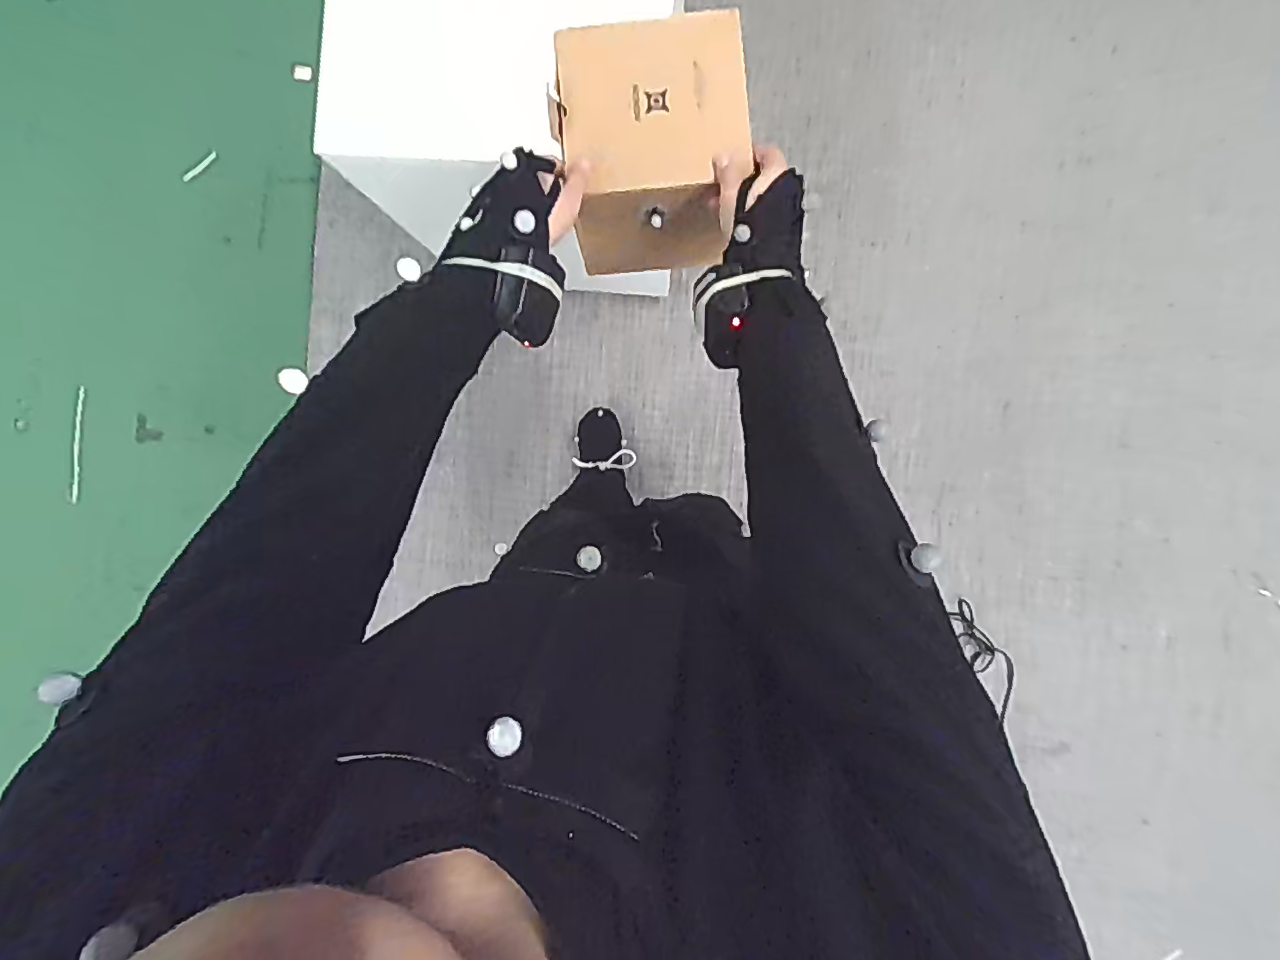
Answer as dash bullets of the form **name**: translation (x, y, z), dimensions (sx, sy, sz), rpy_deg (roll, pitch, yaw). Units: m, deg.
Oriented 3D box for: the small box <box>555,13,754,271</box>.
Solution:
- **small box**: translation (0.015, -0.338, 0.574), dimensions (0.179, 0.176, 0.168), rpy_deg (-4, 86, 1)
